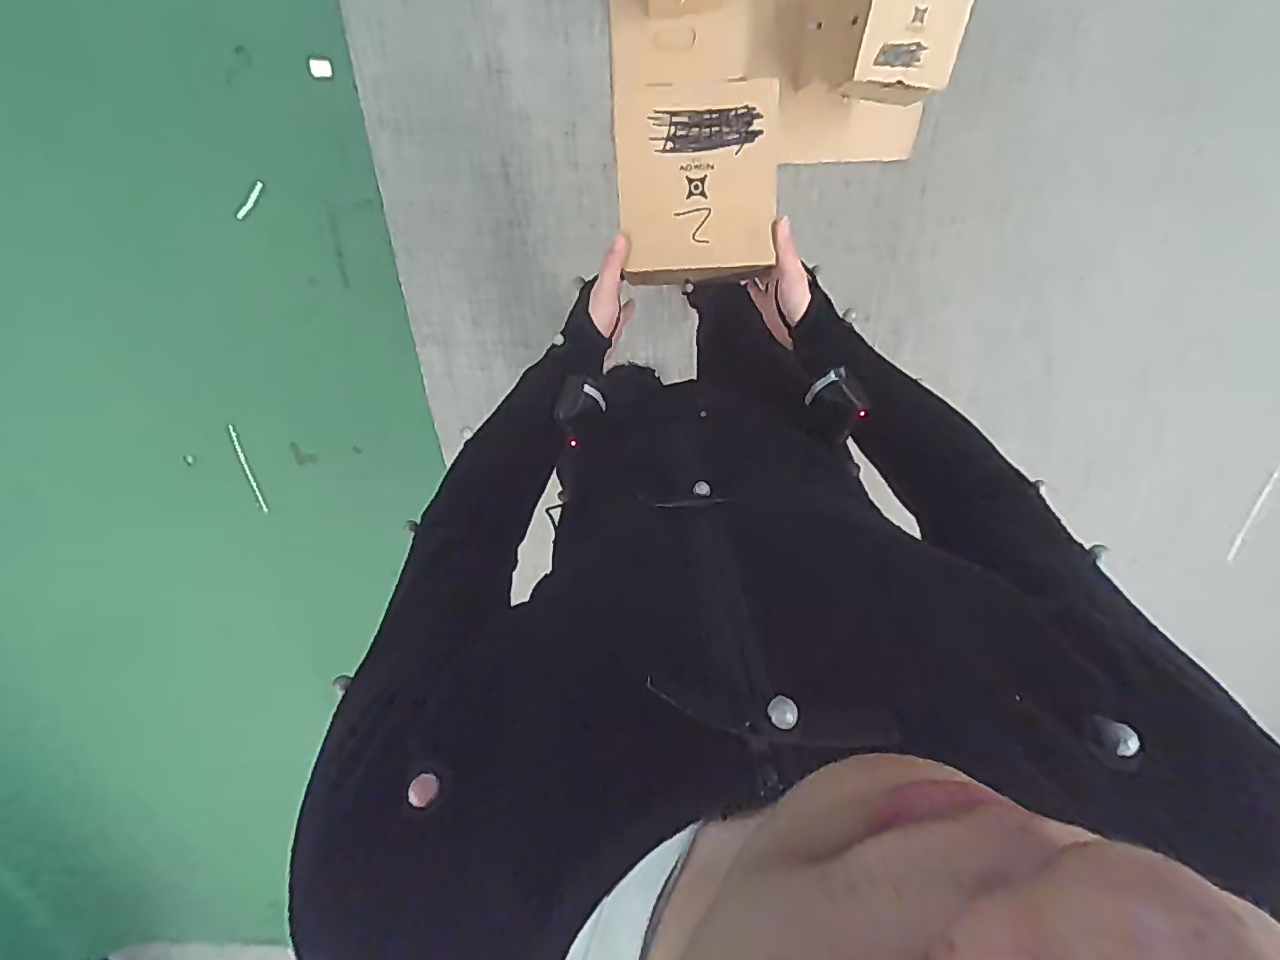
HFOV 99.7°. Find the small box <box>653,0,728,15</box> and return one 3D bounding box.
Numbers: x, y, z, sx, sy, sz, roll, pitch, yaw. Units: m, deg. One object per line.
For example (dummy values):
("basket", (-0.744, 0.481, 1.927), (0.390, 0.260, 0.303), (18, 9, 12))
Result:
("small box", (0.096, -1.032, 1.028), (0.168, 0.176, 0.179), (-6, 117, 6))

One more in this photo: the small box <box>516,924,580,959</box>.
("small box", (-0.268, 1.429, 1.567), (0.168, 0.176, 0.179), (-1, 119, 2))

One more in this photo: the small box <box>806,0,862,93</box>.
("small box", (0.442, -0.893, 1.082), (0.168, 0.176, 0.179), (4, 118, 1))

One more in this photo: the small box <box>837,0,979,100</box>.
("small box", (0.463, -0.791, 0.950), (0.168, 0.176, 0.179), (7, 117, -1))
